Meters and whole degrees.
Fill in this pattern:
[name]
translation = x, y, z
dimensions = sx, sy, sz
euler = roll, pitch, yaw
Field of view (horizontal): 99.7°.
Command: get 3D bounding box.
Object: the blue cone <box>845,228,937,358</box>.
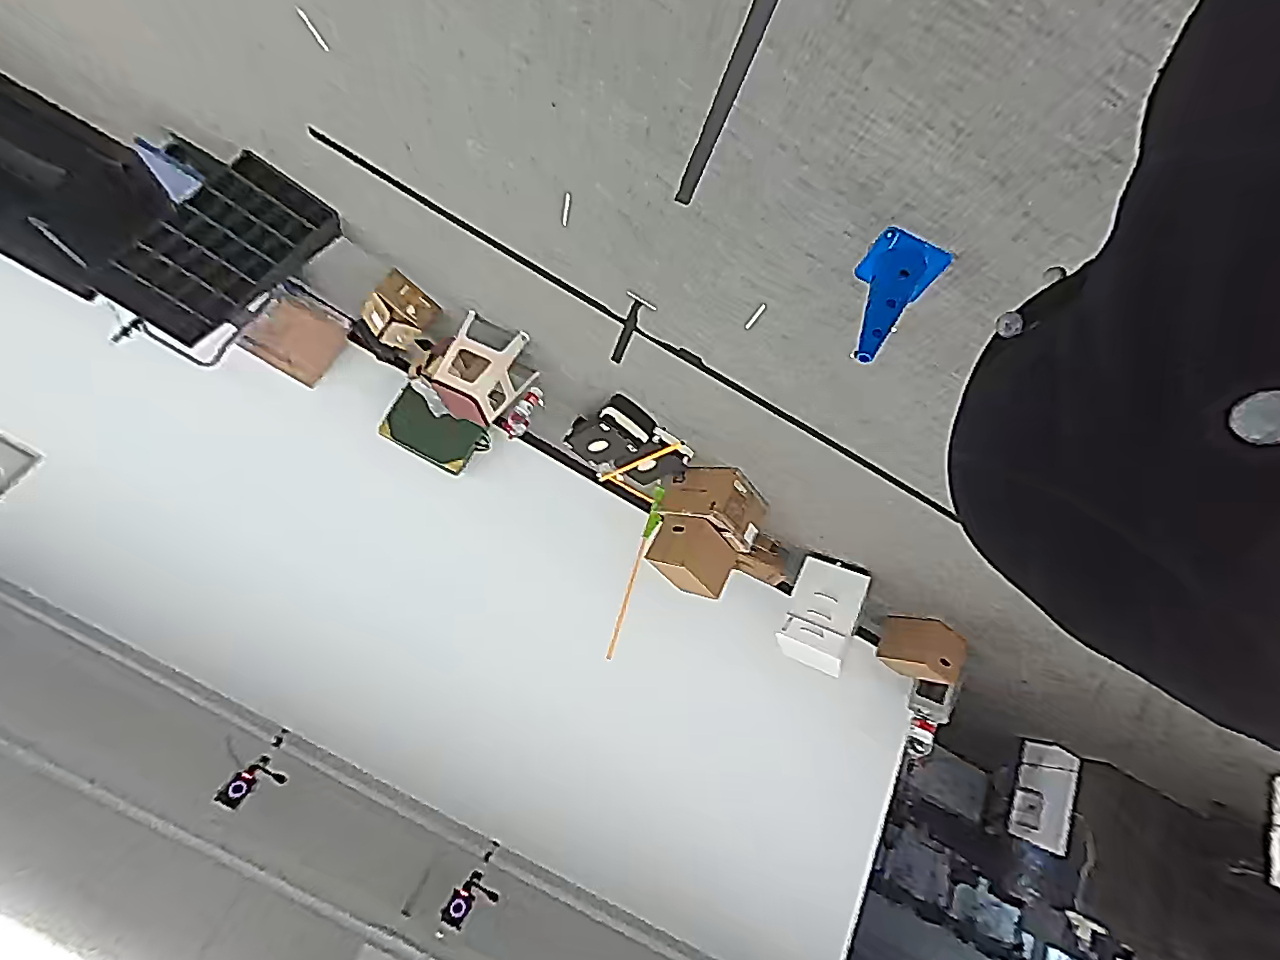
[blue cone]
translation = 0.650, -0.482, 1.488
dimensions = 0.192, 0.380, 0.193
euler = 29, 159, 1
